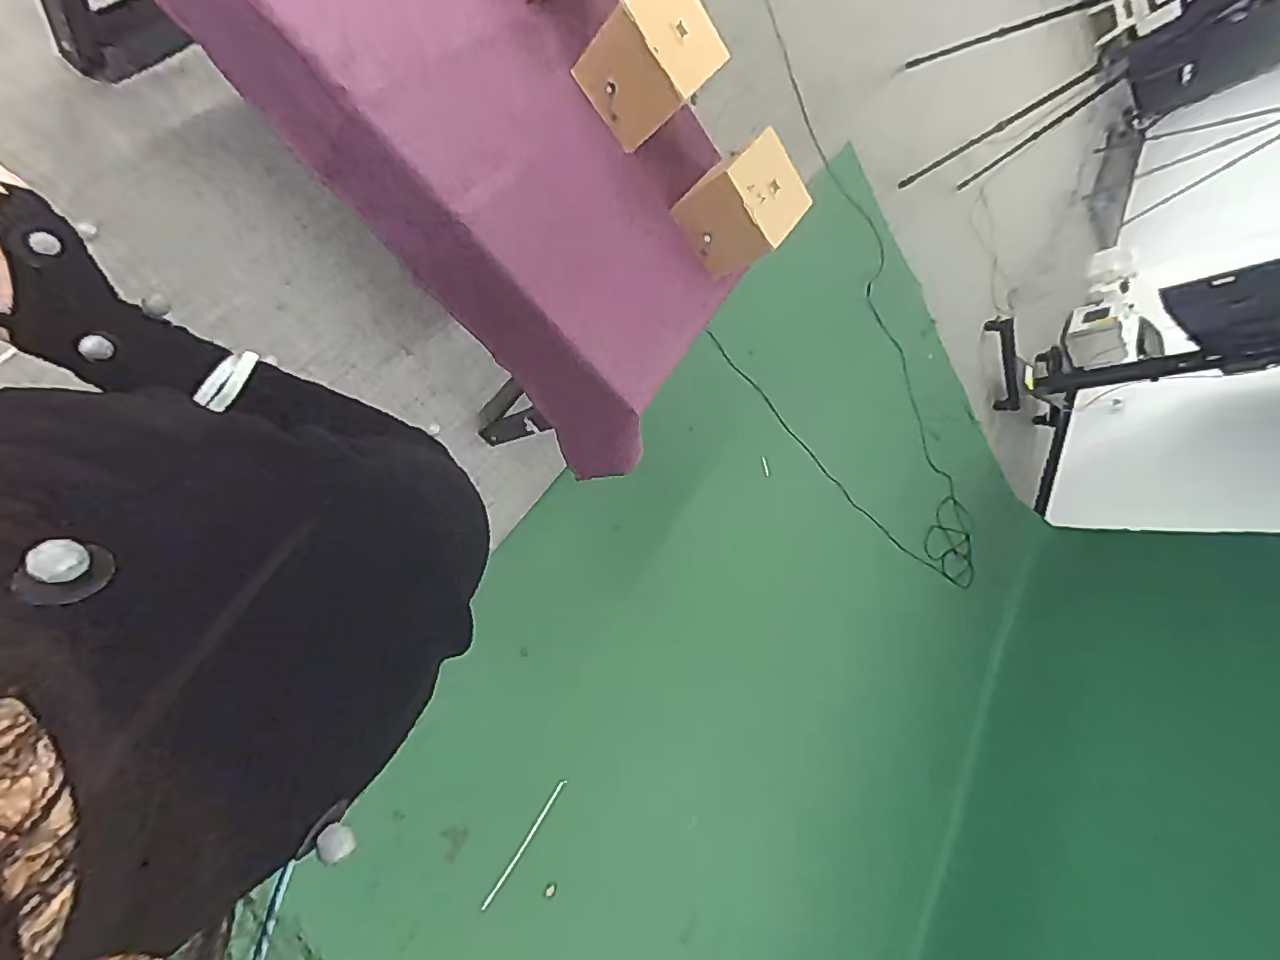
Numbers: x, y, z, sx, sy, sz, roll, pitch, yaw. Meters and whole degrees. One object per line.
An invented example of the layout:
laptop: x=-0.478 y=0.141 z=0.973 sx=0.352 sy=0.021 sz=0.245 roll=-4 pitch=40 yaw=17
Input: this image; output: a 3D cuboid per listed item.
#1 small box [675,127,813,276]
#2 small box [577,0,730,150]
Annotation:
small box: x=0.200 y=-0.539 z=1.066 sx=0.168 sy=0.176 sz=0.179 roll=48 pitch=65 yaw=-23
small box: x=0.019 y=-0.736 z=0.955 sx=0.168 sy=0.176 sz=0.179 roll=46 pitch=64 yaw=-24
